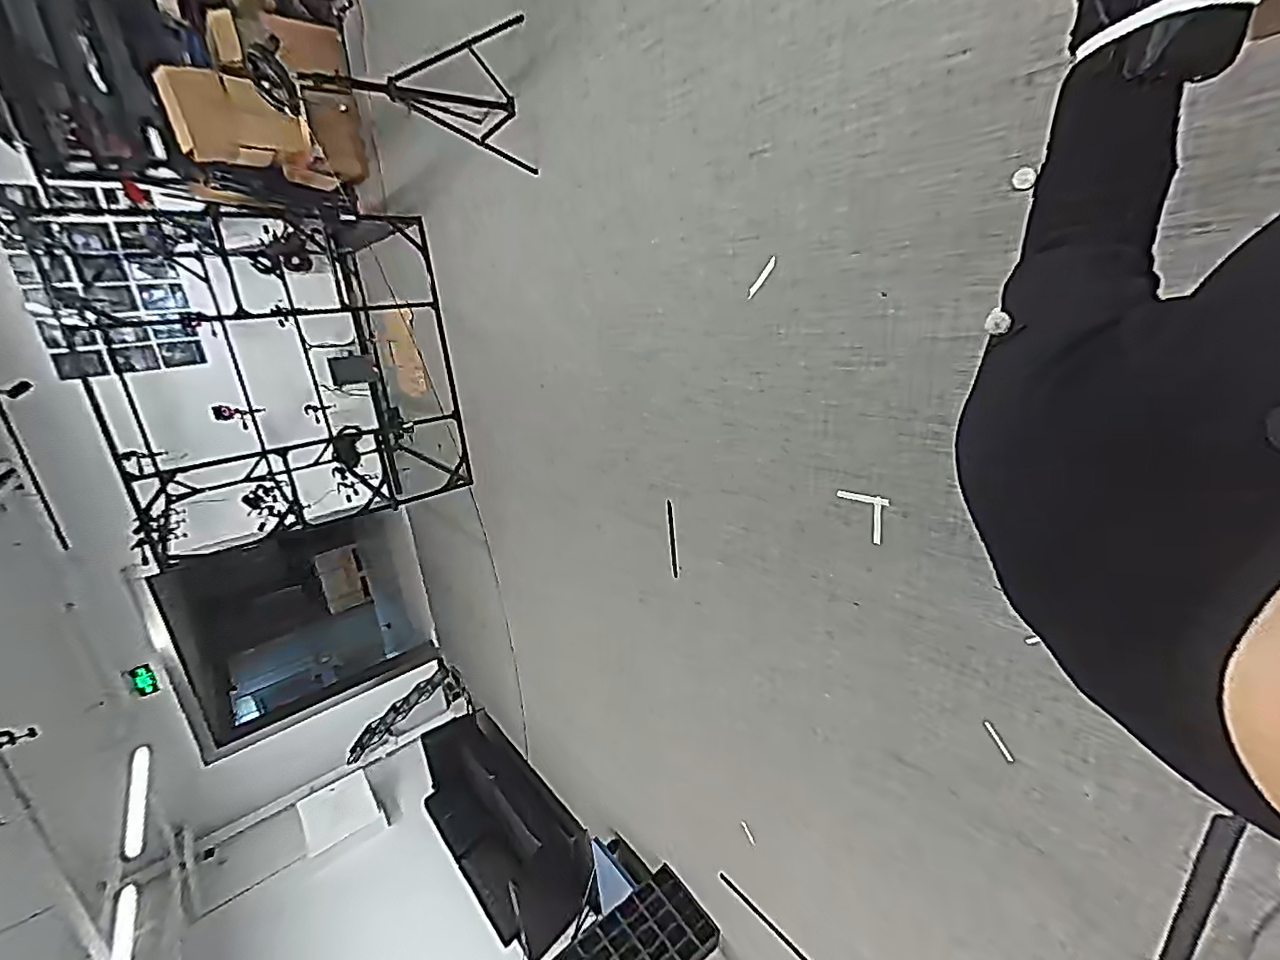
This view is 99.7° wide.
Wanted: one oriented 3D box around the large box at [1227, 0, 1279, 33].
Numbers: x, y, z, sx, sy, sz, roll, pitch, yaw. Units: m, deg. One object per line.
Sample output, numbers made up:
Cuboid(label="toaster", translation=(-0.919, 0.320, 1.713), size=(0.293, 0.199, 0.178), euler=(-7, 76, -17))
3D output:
Cuboid(label="large box", translation=(0.577, -0.487, 0.240), size=(0.408, 0.320, 0.320), euler=(14, 122, 48))
